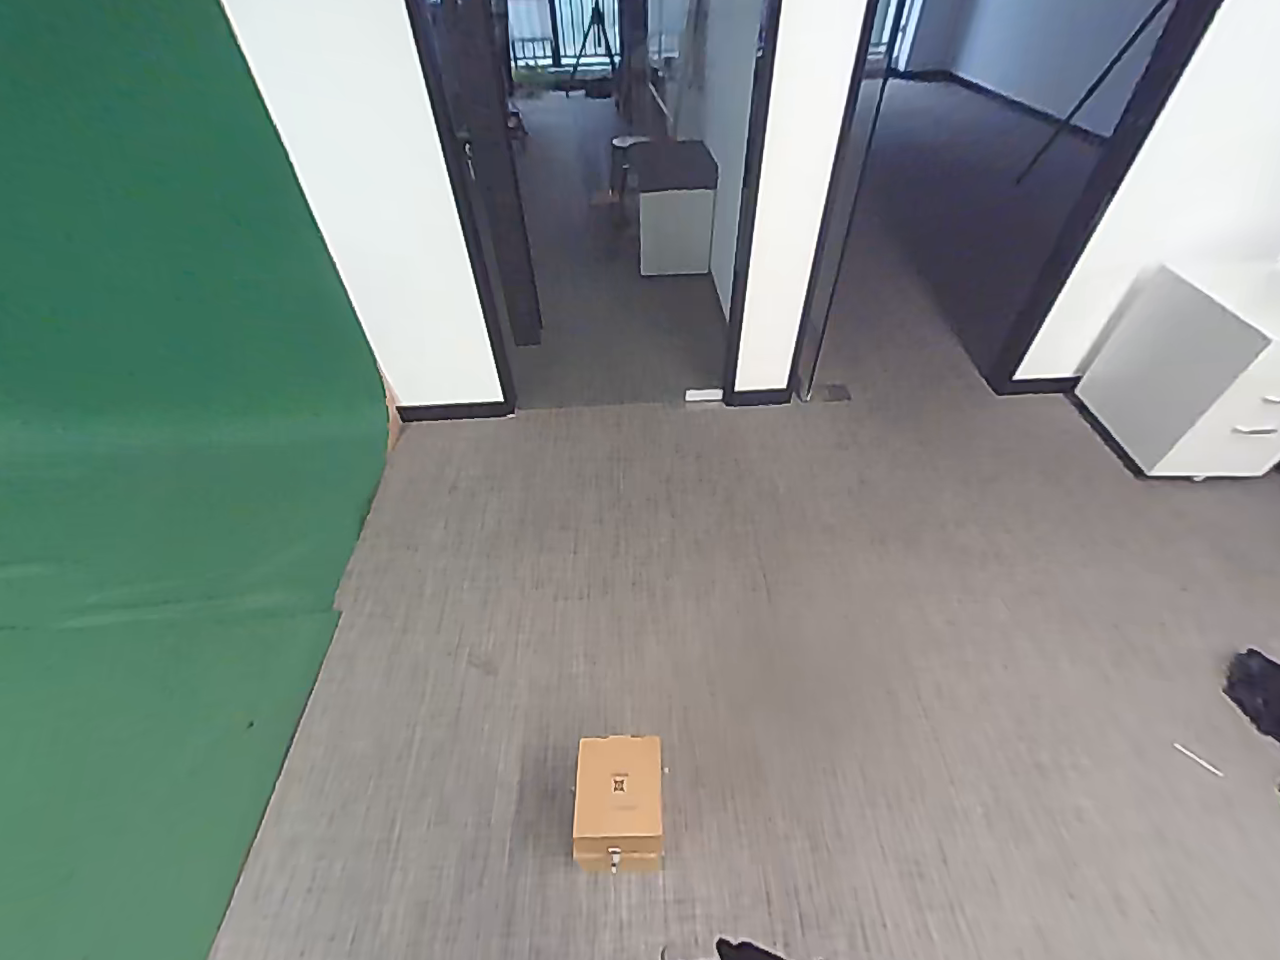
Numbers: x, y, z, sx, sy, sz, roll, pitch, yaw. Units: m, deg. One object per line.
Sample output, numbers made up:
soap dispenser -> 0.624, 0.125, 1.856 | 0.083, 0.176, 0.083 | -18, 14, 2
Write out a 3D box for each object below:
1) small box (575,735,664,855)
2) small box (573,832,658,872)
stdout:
small box -> -0.037, 0.642, 1.101 | 0.168, 0.176, 0.179 | -3, 46, 1
small box -> -0.048, 0.762, 1.208 | 0.179, 0.176, 0.168 | -2, 45, 2
